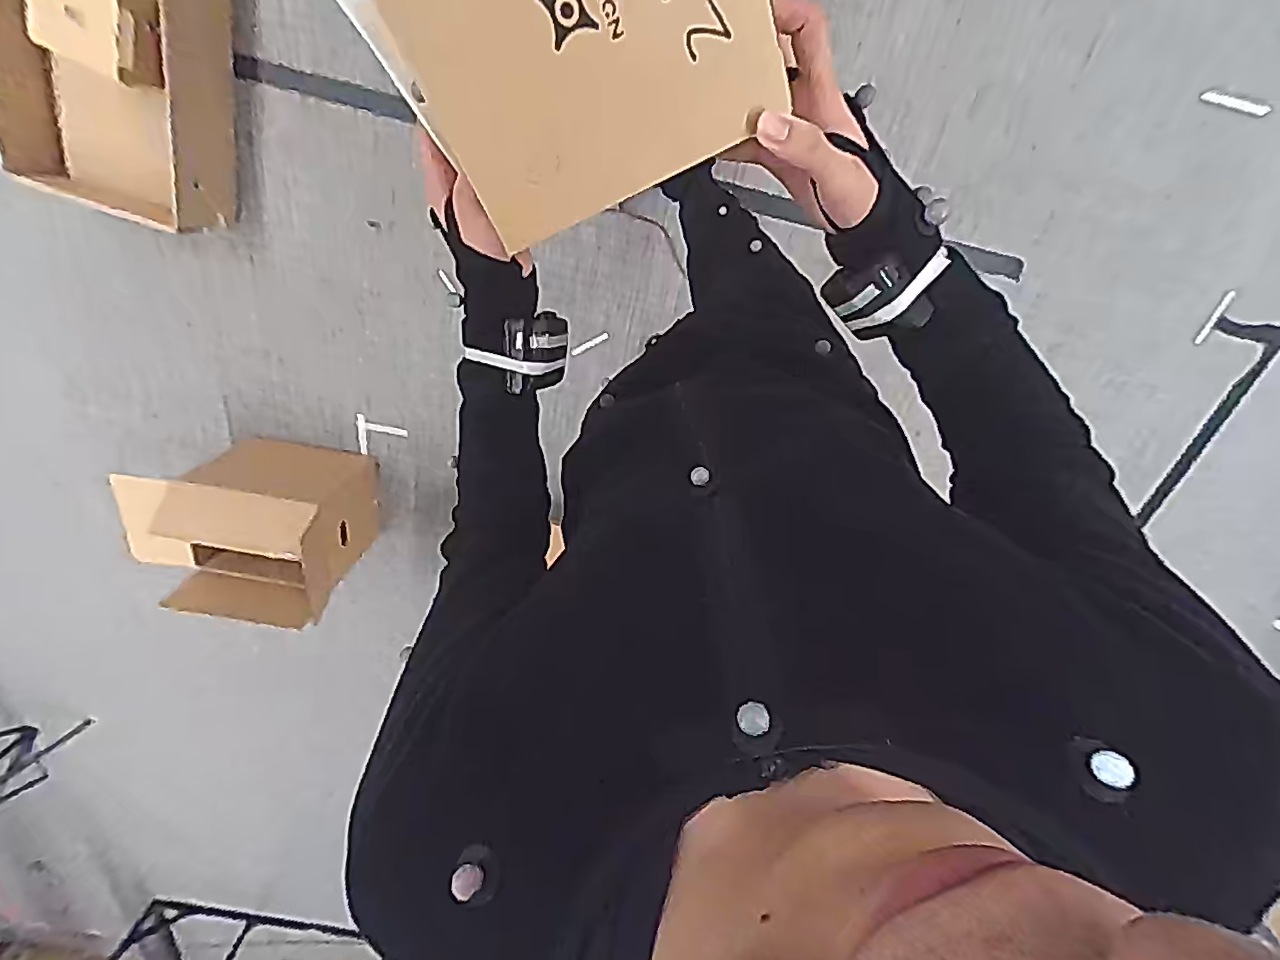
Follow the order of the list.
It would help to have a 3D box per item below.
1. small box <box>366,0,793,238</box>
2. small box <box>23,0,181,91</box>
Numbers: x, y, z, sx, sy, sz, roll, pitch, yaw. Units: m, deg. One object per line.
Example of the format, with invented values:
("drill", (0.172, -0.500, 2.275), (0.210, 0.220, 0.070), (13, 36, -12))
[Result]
("small box", (-0.042, -0.266, 0.304), (0.179, 0.176, 0.168), (-25, 127, 4))
("small box", (-1.105, -0.942, 1.122), (0.179, 0.176, 0.168), (24, 117, -10))
